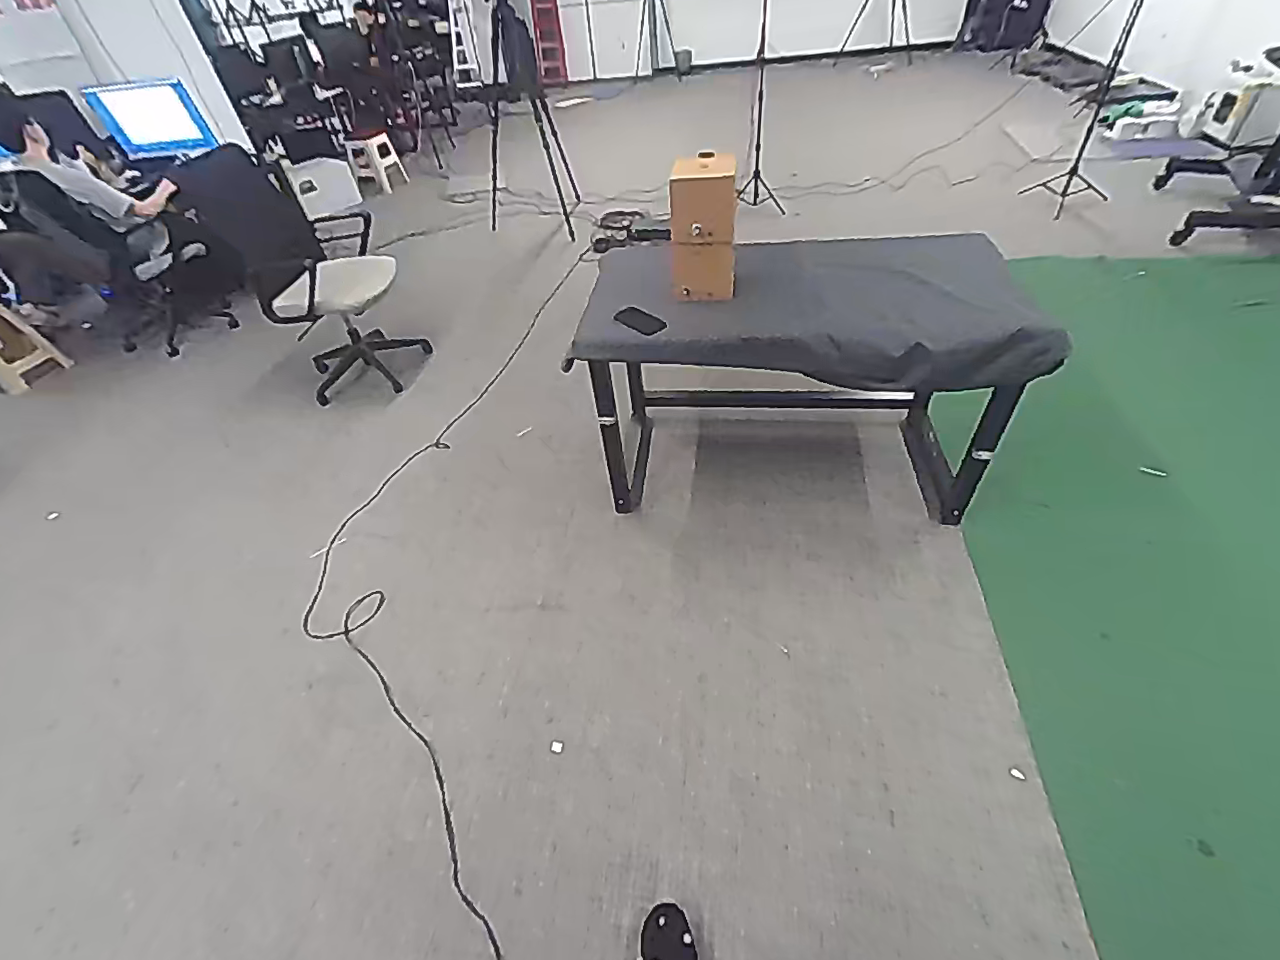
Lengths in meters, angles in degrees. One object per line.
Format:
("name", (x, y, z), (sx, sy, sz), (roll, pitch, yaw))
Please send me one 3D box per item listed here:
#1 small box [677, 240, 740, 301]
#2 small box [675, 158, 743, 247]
("small box", (0.202, -0.632, 1.569), (0.168, 0.176, 0.179), (3, 44, 11))
("small box", (0.188, -0.744, 1.453), (0.168, 0.176, 0.179), (2, 46, 11))
